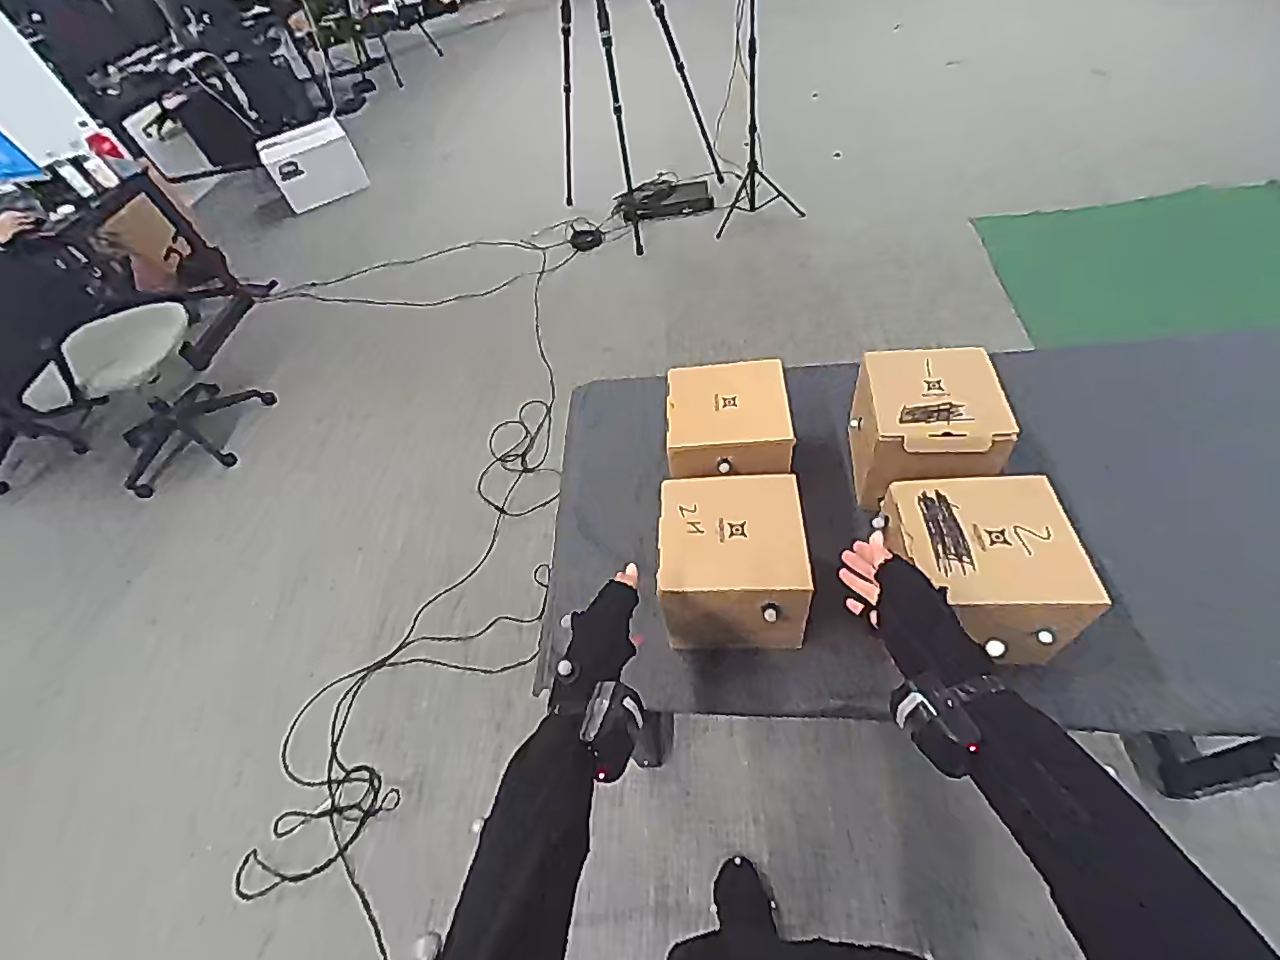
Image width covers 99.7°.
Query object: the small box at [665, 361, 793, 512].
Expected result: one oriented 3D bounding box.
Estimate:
[{"bbox_3d":[0.137,-0.063,0.852,0.179,0.176,0.168,-4,52,9],"label":"small box"}]
